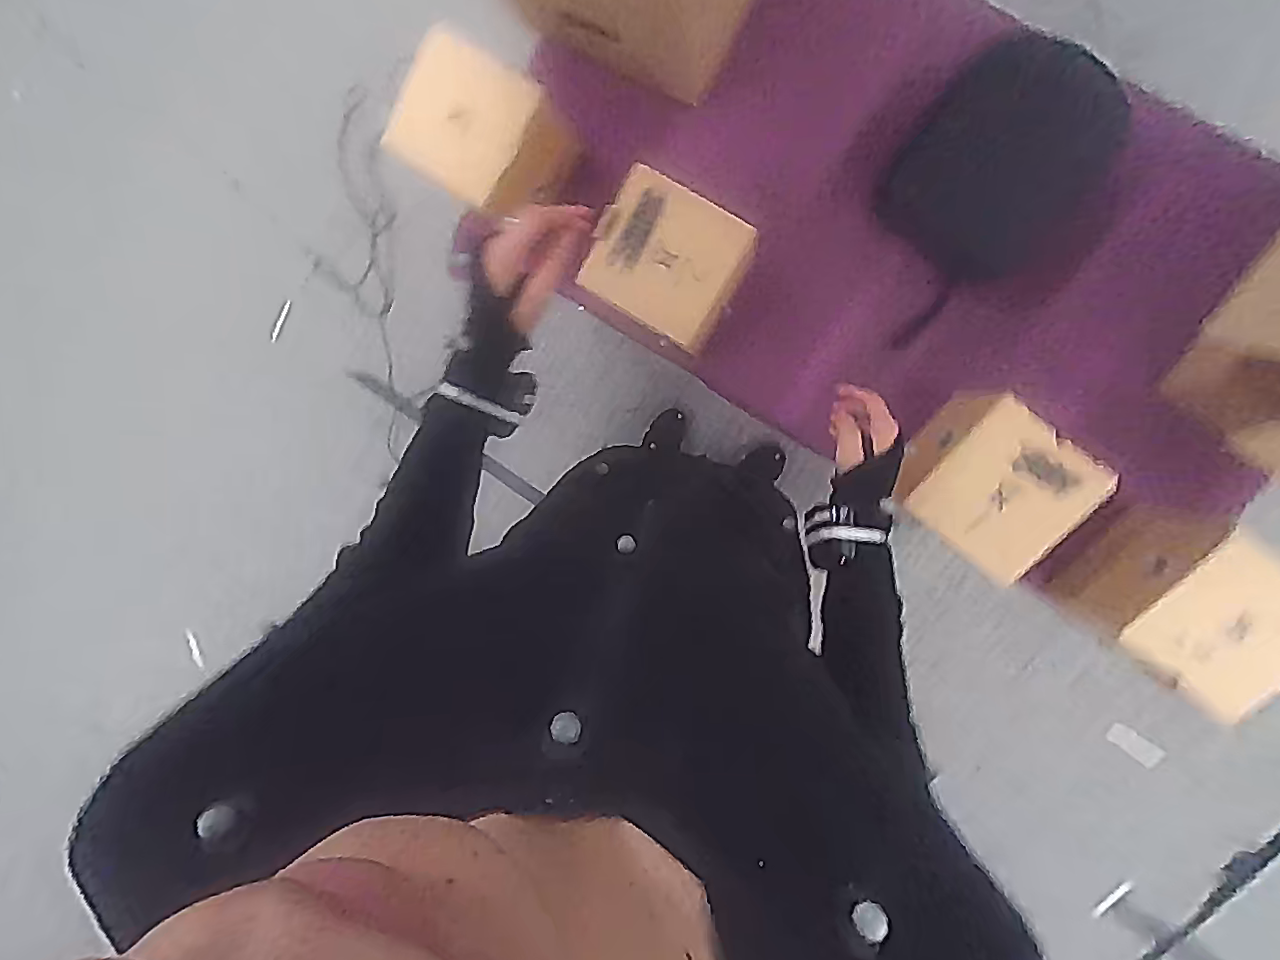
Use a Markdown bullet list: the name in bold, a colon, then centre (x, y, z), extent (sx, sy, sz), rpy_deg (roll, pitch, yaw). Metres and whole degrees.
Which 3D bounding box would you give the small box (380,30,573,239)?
- **small box**: centre (-0.226, -0.480, 0.786), extent (0.179, 0.176, 0.168), rpy_deg (33, 103, 3)

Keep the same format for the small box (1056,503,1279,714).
- **small box**: centre (0.704, 0.150, 0.699), extent (0.168, 0.176, 0.179), rpy_deg (39, 103, 4)
